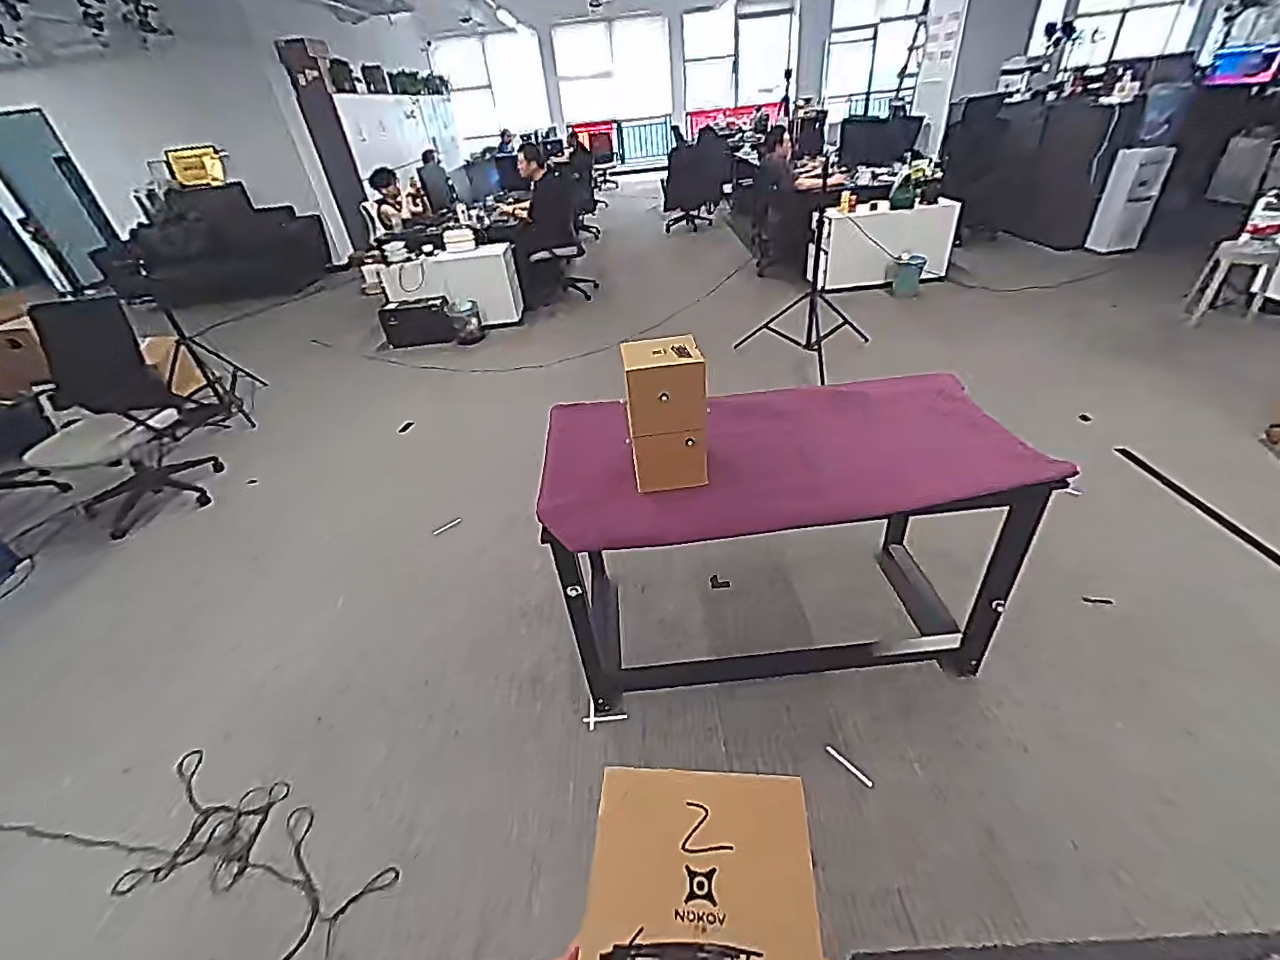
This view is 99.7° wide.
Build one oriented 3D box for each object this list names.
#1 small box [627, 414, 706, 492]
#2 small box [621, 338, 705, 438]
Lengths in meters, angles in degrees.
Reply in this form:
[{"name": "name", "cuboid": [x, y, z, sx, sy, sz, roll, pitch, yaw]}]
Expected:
[{"name": "small box", "cuboid": [0.066, -0.085, 1.368, 0.179, 0.176, 0.168, -7, 35, -2]}, {"name": "small box", "cuboid": [0.053, -0.216, 1.270, 0.179, 0.176, 0.168, -8, 35, -2]}]
